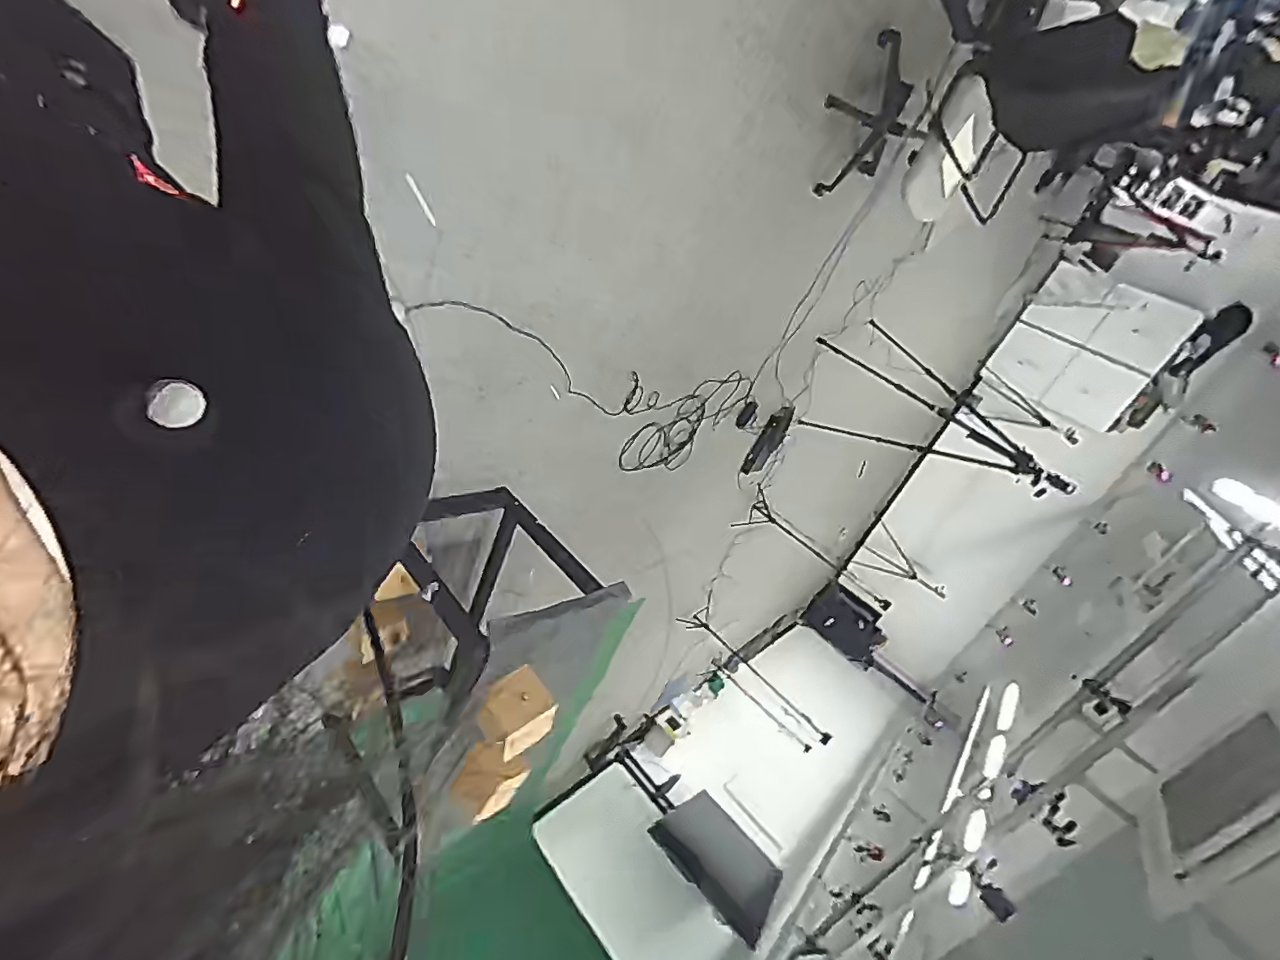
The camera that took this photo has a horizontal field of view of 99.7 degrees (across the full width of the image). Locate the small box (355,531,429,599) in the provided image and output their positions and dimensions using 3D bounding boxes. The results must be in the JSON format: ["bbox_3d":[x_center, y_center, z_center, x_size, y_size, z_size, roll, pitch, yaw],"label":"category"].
[{"bbox_3d":[-0.914,0.307,1.985,0.179,0.176,0.168,-4,127,-54],"label":"small box"}]

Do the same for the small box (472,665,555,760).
[{"bbox_3d":[-0.392,0.706,1.663,0.179,0.176,0.168,-22,140,-41],"label":"small box"}]

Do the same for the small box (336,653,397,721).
[{"bbox_3d":[-1.159,0.868,2.282,0.179,0.176,0.168,-14,136,-47],"label":"small box"}]

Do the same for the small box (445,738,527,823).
[{"bbox_3d":[-0.521,0.992,1.813,0.179,0.176,0.168,-56,154,7],"label":"small box"}]
